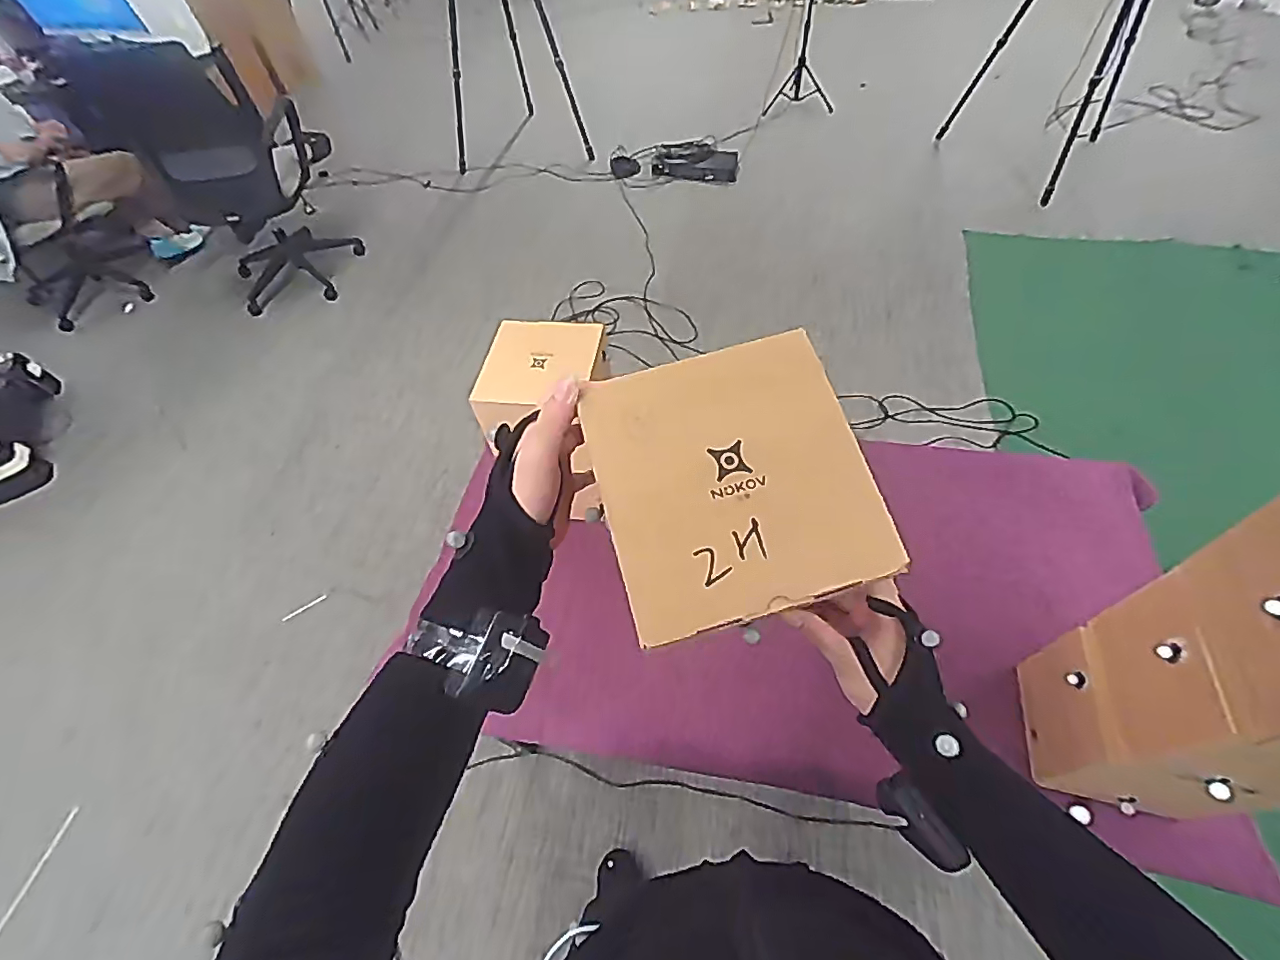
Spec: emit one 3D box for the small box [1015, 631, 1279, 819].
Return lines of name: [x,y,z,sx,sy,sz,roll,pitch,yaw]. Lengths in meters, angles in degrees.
small box: [0.625,0.318,0.692,0.179,0.176,0.168,10,55,11]

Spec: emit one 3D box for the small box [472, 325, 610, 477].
small box: [-0.140,-0.122,0.861,0.168,0.176,0.179,4,55,7]

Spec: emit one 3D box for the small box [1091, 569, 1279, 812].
small box: [0.617,0.220,0.562,0.168,0.176,0.179,9,55,13]

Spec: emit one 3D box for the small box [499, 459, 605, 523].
small box: [-0.134,-0.034,0.996,0.179,0.176,0.168,4,55,7]

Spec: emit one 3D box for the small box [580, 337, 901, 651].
small box: [0.058,0.024,0.419,0.168,0.176,0.179,-15,72,-4]
